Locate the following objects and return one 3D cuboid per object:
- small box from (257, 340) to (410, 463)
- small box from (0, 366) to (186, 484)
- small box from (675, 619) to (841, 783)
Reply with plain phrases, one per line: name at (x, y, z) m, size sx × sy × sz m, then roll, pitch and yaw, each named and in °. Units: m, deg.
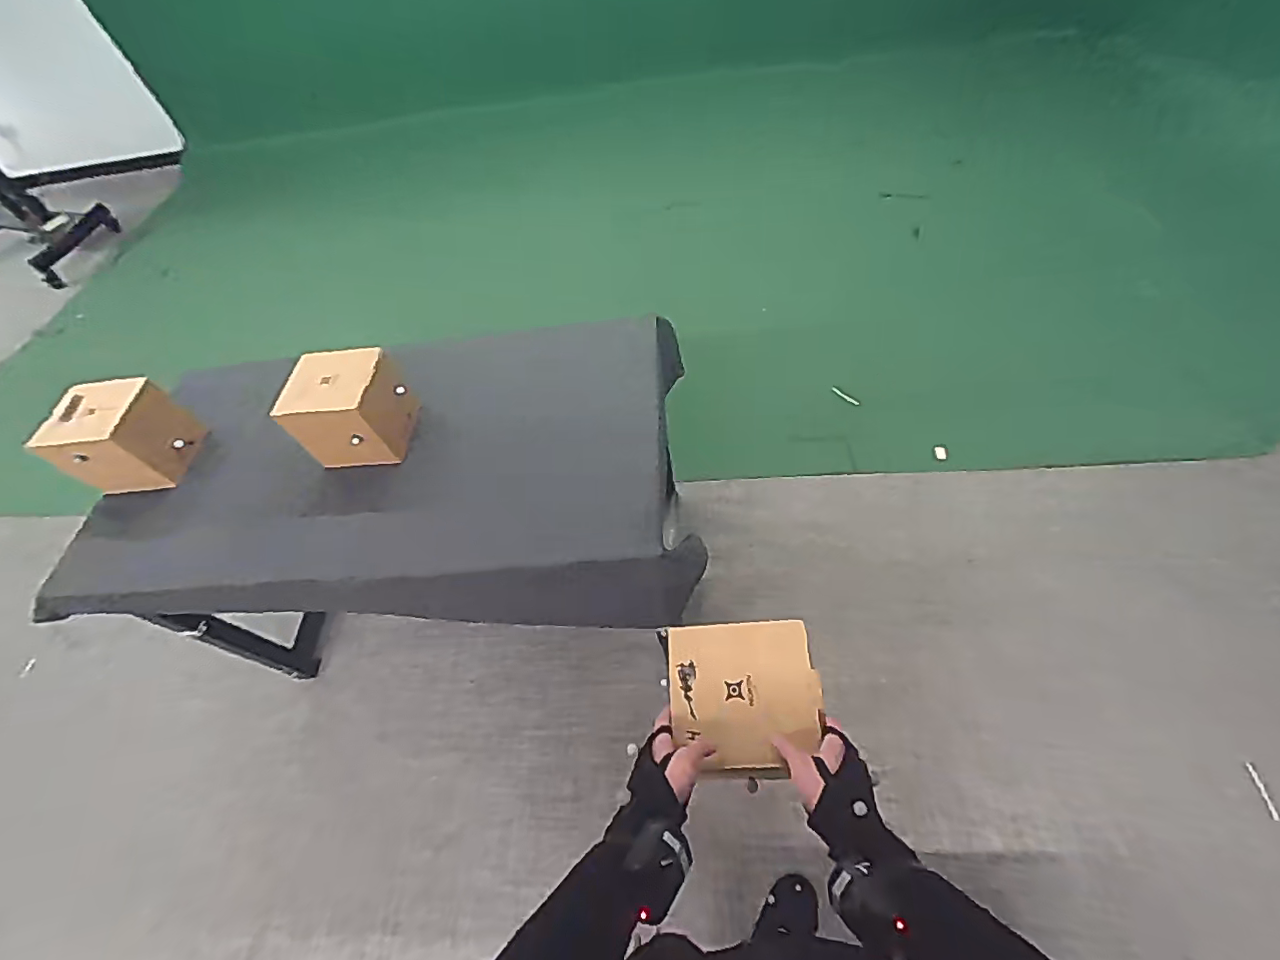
small box at (-0.578, -0.148, 1.051) m, size 0.179 × 0.176 × 0.168 m, roll -4°, pitch 54°, yaw 6°
small box at (-1.079, -0.104, 1.077) m, size 0.179 × 0.176 × 0.168 m, roll -4°, pitch 55°, yaw 2°
small box at (0.139, 0.287, 0.693) m, size 0.179 × 0.176 × 0.168 m, roll -5°, pitch 56°, yaw 6°
